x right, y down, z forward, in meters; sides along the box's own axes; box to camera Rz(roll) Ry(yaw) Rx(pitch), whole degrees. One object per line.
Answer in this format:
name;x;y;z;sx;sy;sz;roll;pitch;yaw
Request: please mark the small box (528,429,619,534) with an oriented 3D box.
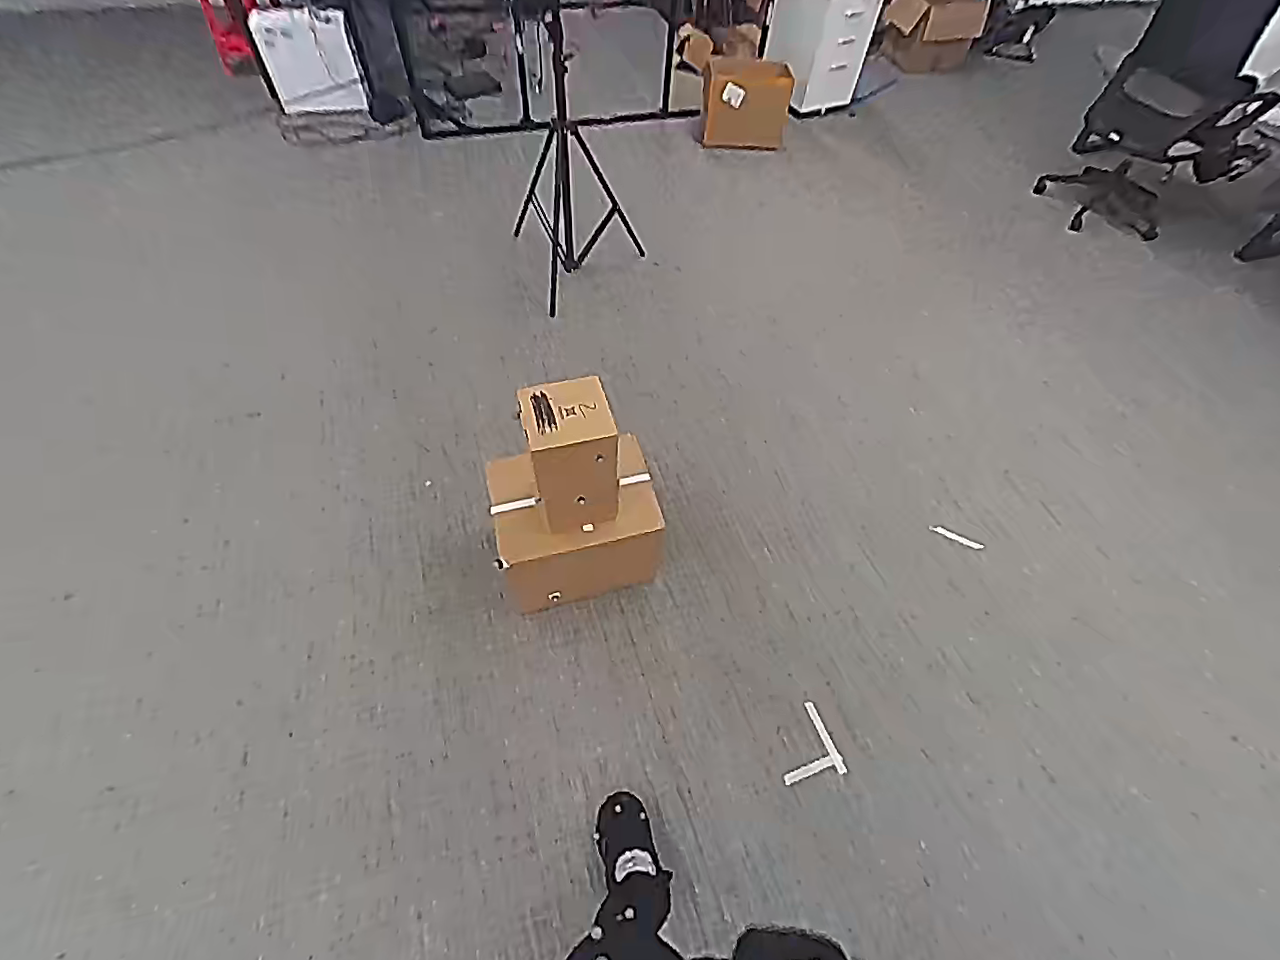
small box;-0.155;0.008;1.282;0.179;0.176;0.168;-14;59;-14
